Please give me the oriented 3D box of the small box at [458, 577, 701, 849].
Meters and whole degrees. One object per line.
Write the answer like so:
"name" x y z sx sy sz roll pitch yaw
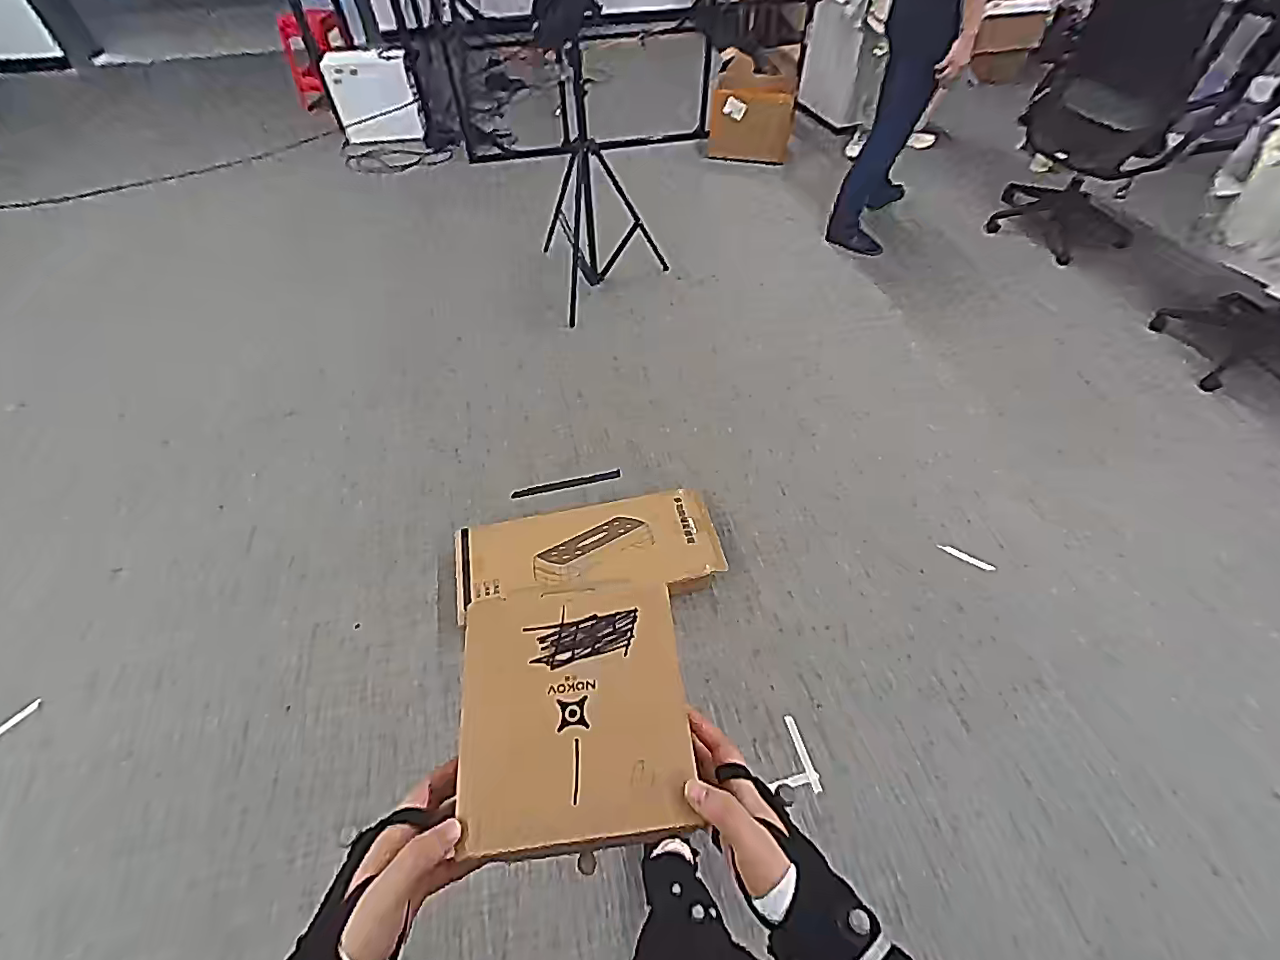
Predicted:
"small box" -0.049 0.206 0.474 0.168 0.176 0.179 -6 55 -4
